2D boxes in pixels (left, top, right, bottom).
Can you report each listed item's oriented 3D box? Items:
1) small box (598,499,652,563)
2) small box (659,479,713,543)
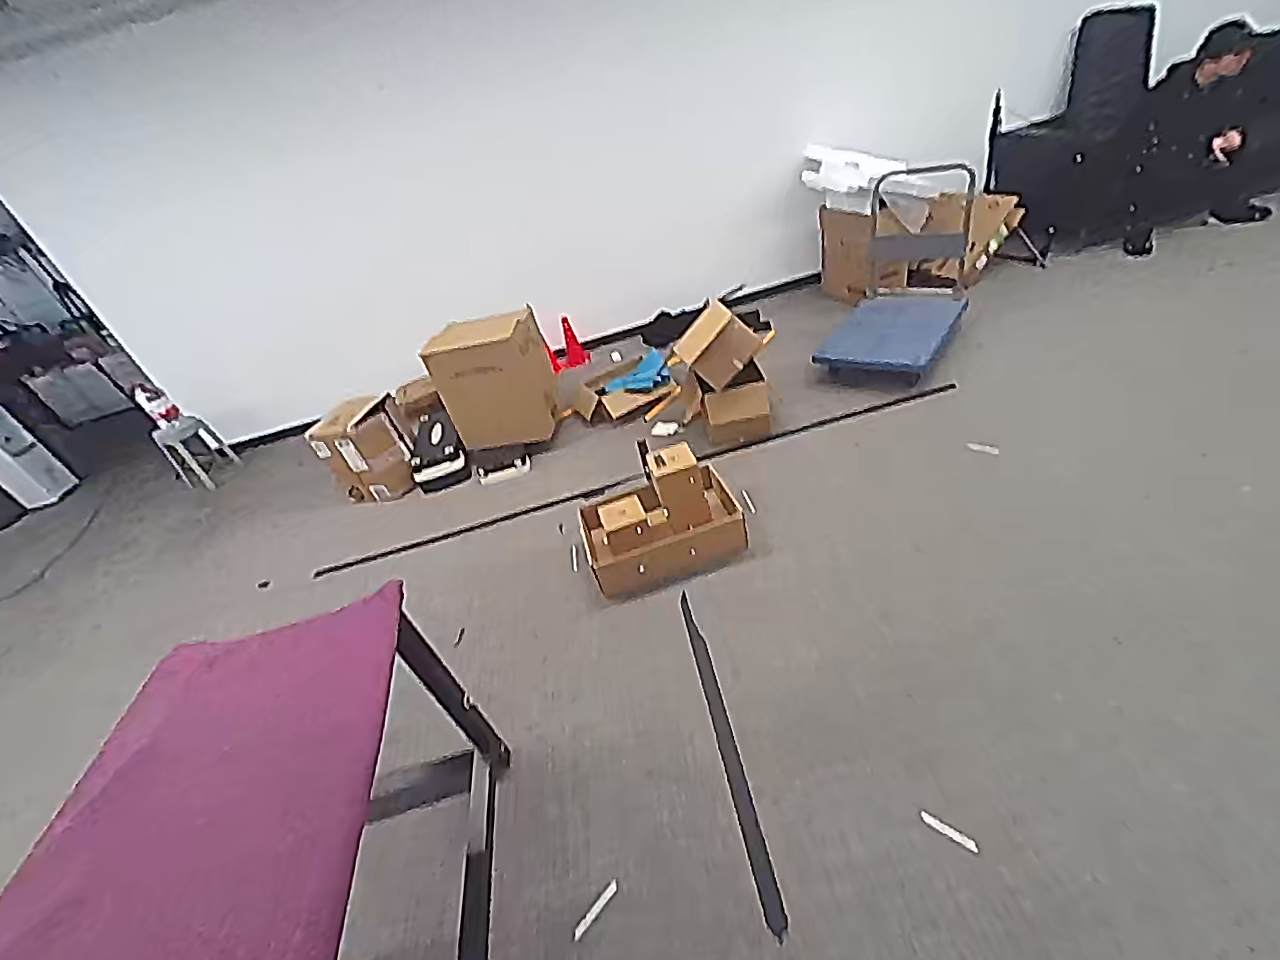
[{"bbox_3d":[-0.056,0.212,2.215,0.179,0.176,0.168,-19,34,-6],"label":"small box"},{"bbox_3d":[0.190,0.130,2.234,0.168,0.176,0.179,-20,35,-3],"label":"small box"}]
